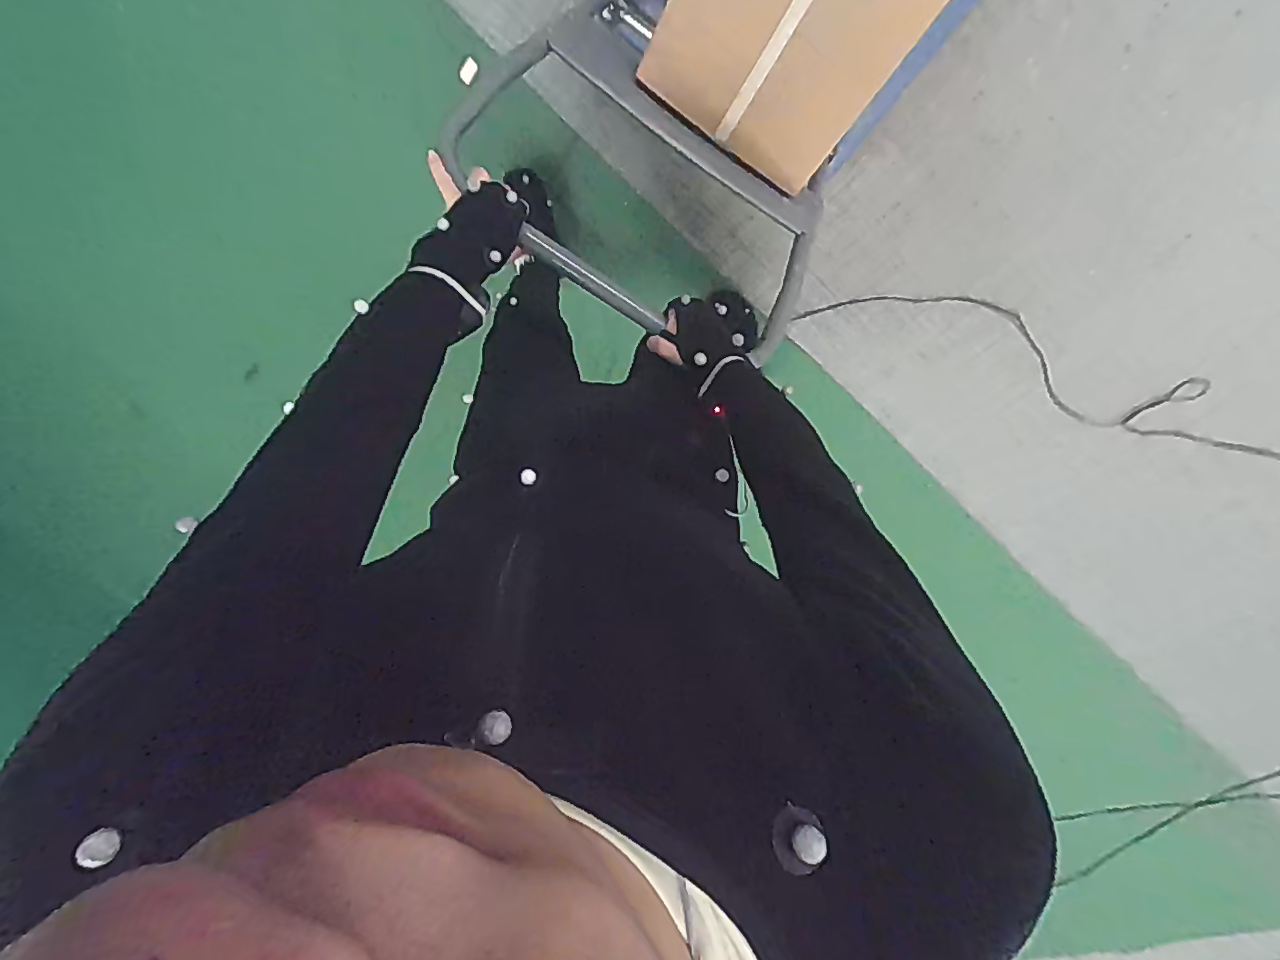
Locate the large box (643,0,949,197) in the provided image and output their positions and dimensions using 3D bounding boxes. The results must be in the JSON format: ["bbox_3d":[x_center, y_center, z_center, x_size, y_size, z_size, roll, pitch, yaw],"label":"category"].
[{"bbox_3d":[0.261,-0.750,0.827,0.320,0.320,0.408,31,139,-13],"label":"large box"}]
